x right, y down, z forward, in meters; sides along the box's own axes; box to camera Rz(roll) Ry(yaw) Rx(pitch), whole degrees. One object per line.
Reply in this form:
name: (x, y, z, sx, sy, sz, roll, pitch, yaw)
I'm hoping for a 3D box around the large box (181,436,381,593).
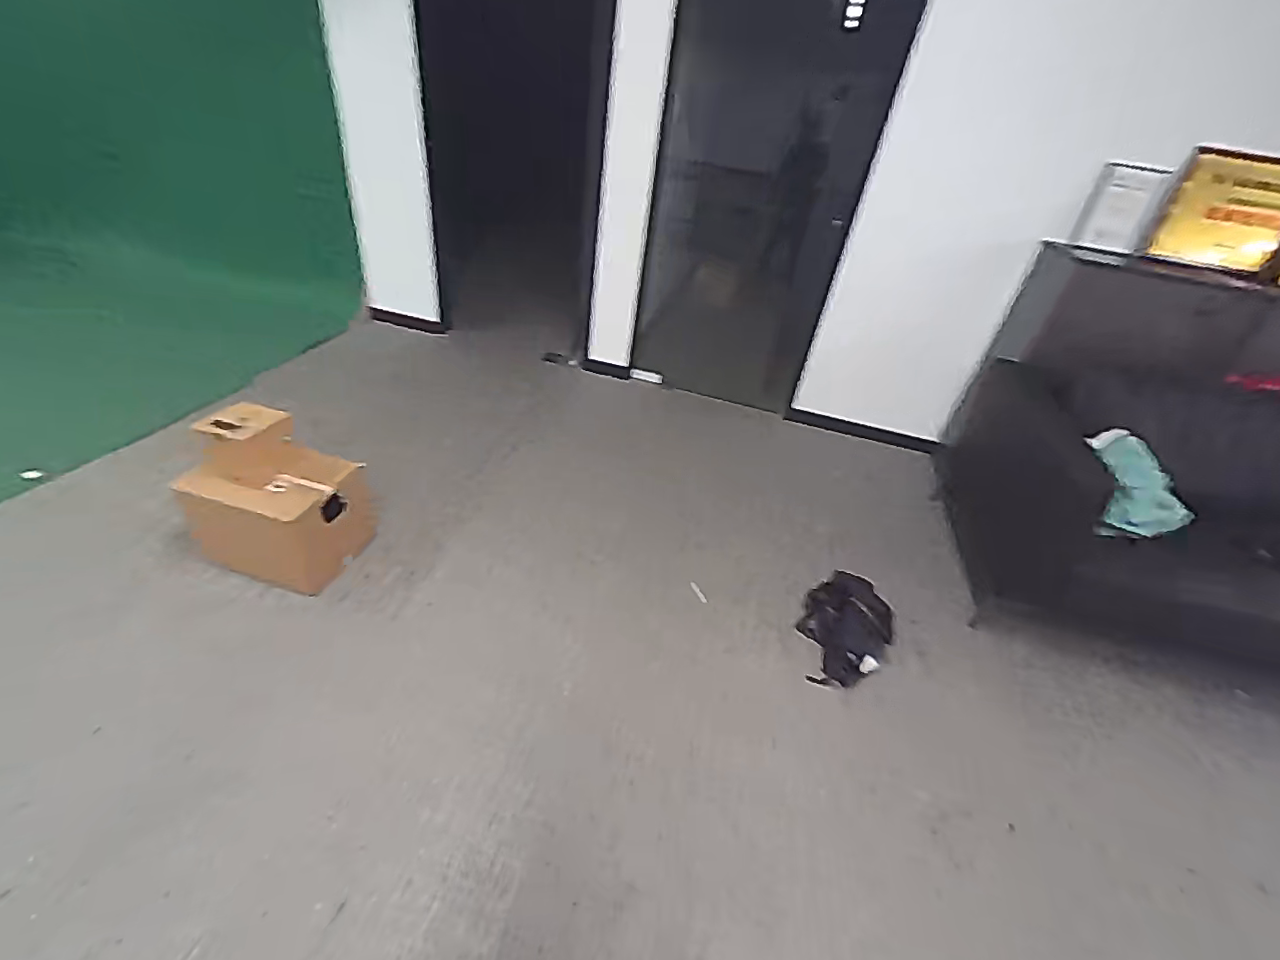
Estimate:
large box: (-1.118, 0.106, 1.732, 0.408, 0.320, 0.320, 16, 37, 7)
